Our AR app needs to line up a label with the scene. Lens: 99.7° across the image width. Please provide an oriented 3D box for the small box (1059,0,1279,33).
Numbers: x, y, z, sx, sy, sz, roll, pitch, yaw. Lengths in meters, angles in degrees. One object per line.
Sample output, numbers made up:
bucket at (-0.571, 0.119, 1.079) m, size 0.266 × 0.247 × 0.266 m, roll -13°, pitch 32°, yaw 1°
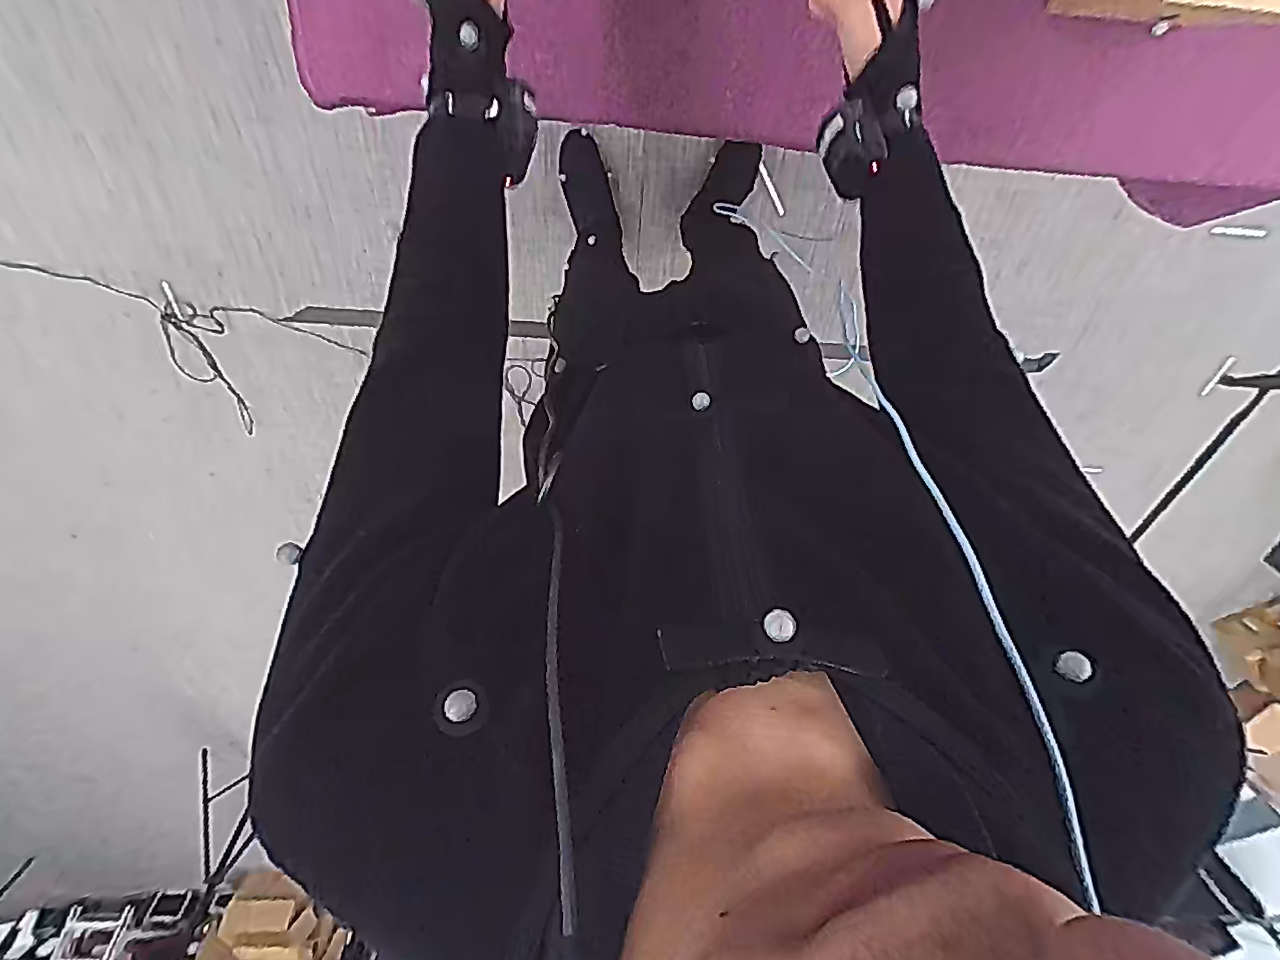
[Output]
small box at (0.527, -0.520, 0.484) m, size 0.168 × 0.176 × 0.179 m, roll 3°, pitch 128°, yaw -4°
